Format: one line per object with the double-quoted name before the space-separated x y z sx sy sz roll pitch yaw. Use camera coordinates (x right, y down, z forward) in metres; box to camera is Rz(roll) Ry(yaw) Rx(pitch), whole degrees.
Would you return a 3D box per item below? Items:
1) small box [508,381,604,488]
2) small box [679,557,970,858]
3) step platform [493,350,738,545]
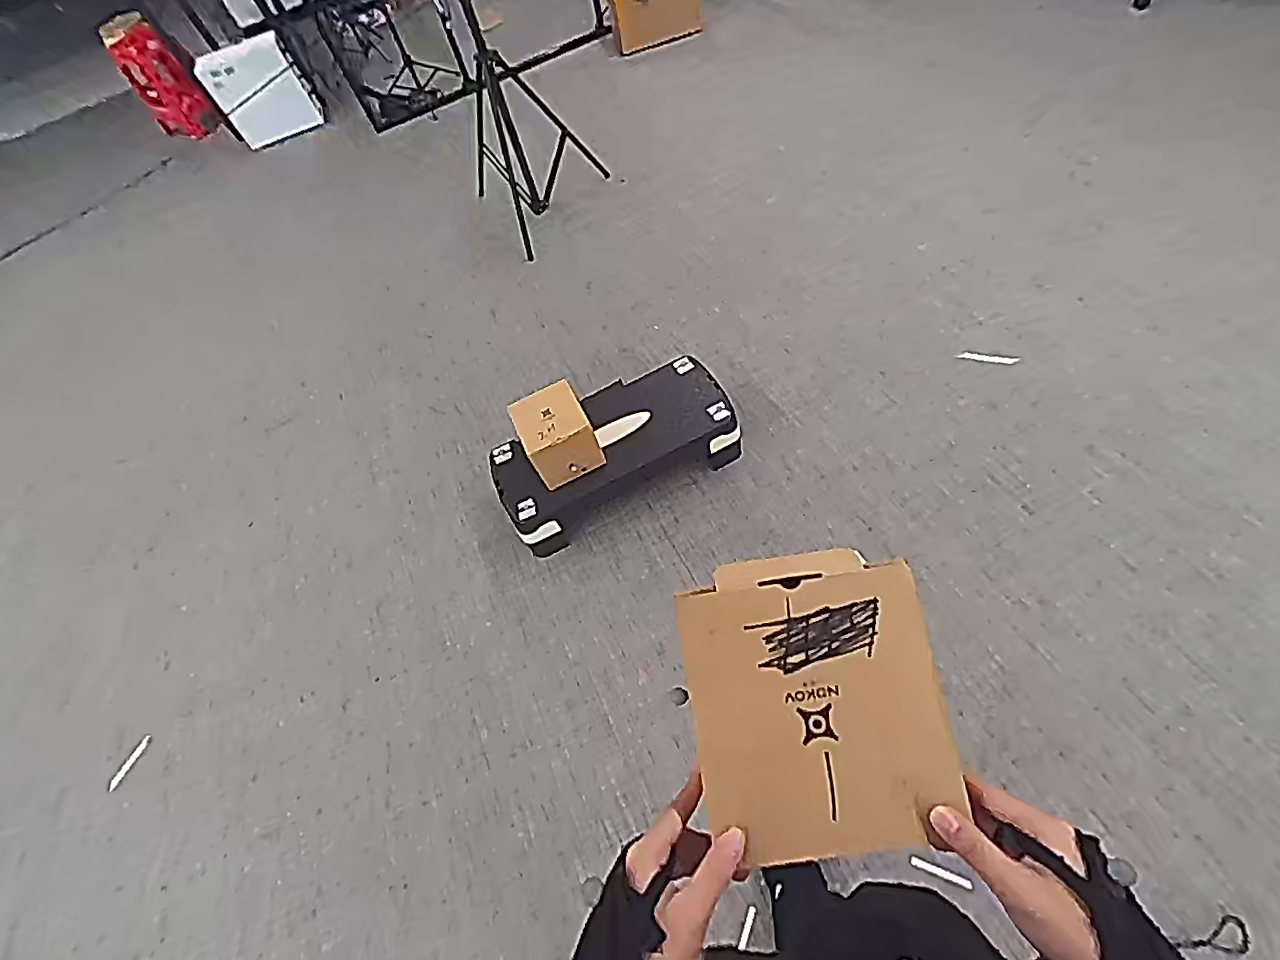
"small box" -0.208 -0.111 1.371 0.168 0.176 0.179 -27 58 -4
"small box" 0.122 0.162 0.436 0.168 0.176 0.179 -7 80 2
"step platform" -0.067 -0.098 1.540 0.684 0.204 0.286 -28 58 -5
